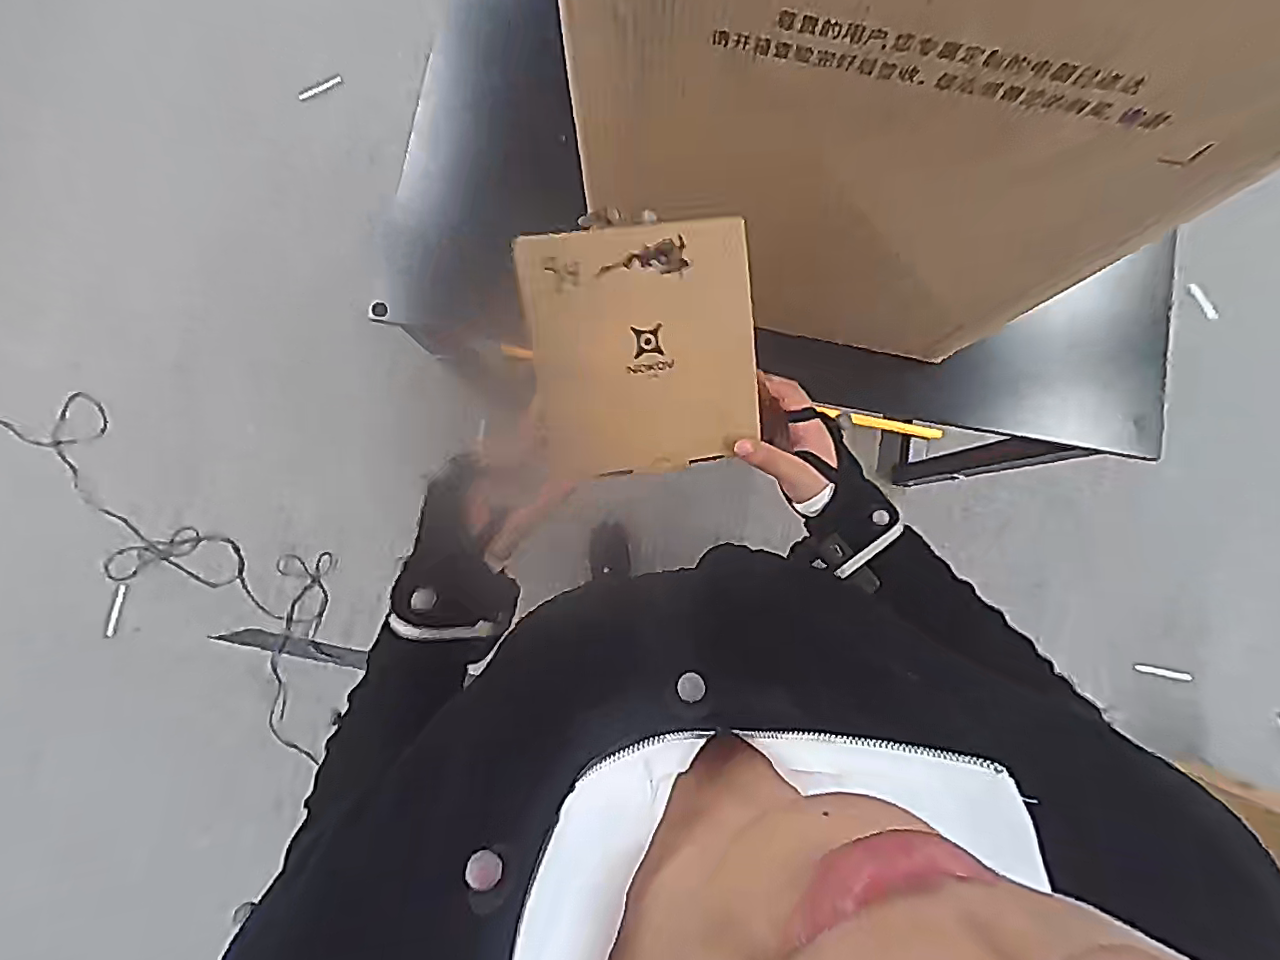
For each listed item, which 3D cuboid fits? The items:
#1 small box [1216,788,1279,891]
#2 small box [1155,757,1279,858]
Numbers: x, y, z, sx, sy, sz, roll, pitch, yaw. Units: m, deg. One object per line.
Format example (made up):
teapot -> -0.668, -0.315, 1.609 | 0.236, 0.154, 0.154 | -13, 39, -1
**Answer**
small box -> 1.468, 0.821, 1.208 | 0.179, 0.176, 0.168 | 11, 84, 1
small box -> 1.467, 0.831, 1.373 | 0.168, 0.176, 0.179 | 7, 85, 0
